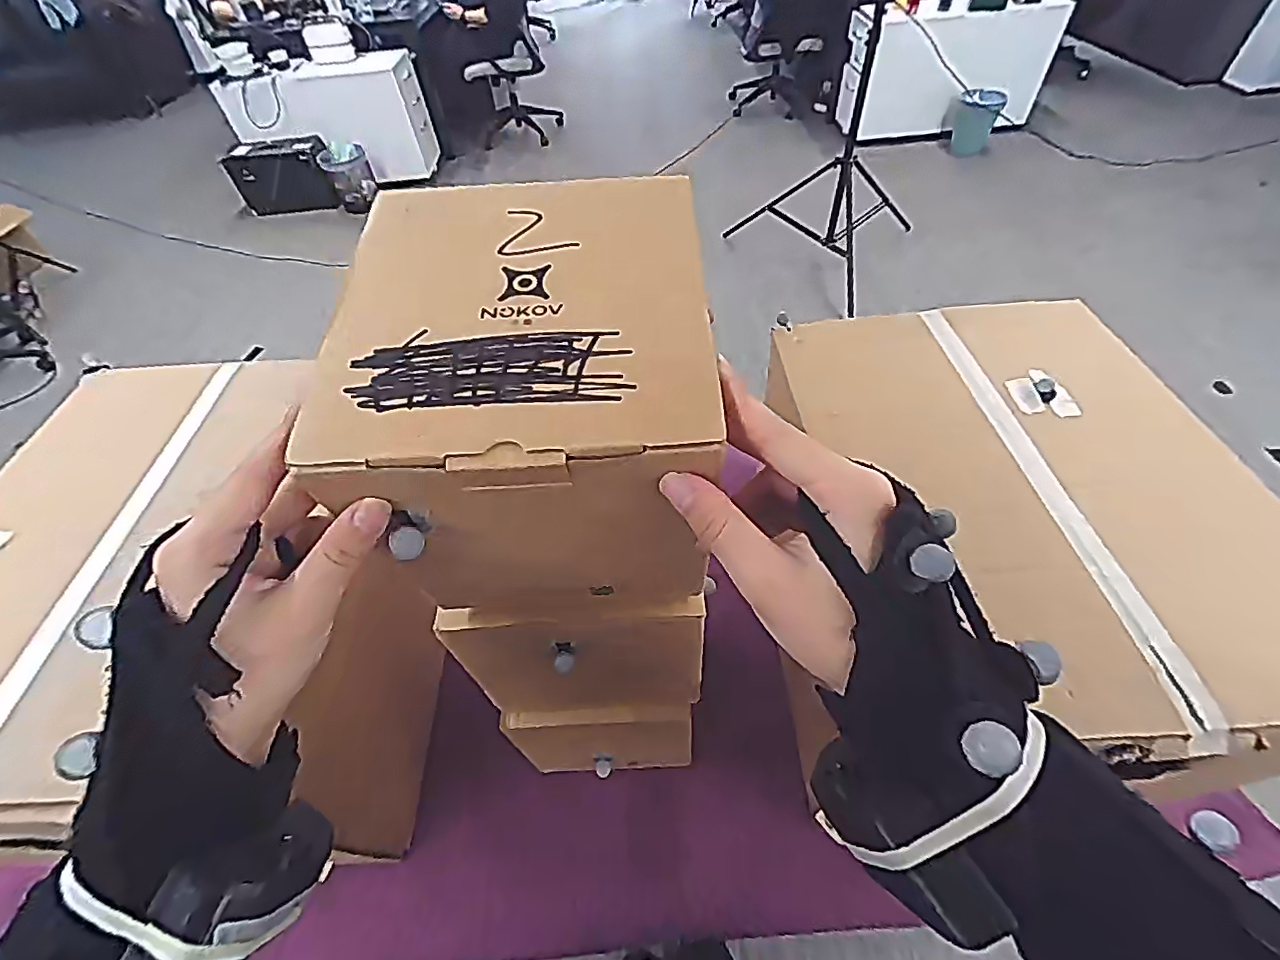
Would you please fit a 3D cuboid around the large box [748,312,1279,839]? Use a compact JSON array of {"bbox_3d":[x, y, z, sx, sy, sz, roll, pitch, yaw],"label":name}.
[{"bbox_3d":[0.302,0.089,0.540,0.320,0.320,0.408,-5,49,1],"label":"large box"}]
